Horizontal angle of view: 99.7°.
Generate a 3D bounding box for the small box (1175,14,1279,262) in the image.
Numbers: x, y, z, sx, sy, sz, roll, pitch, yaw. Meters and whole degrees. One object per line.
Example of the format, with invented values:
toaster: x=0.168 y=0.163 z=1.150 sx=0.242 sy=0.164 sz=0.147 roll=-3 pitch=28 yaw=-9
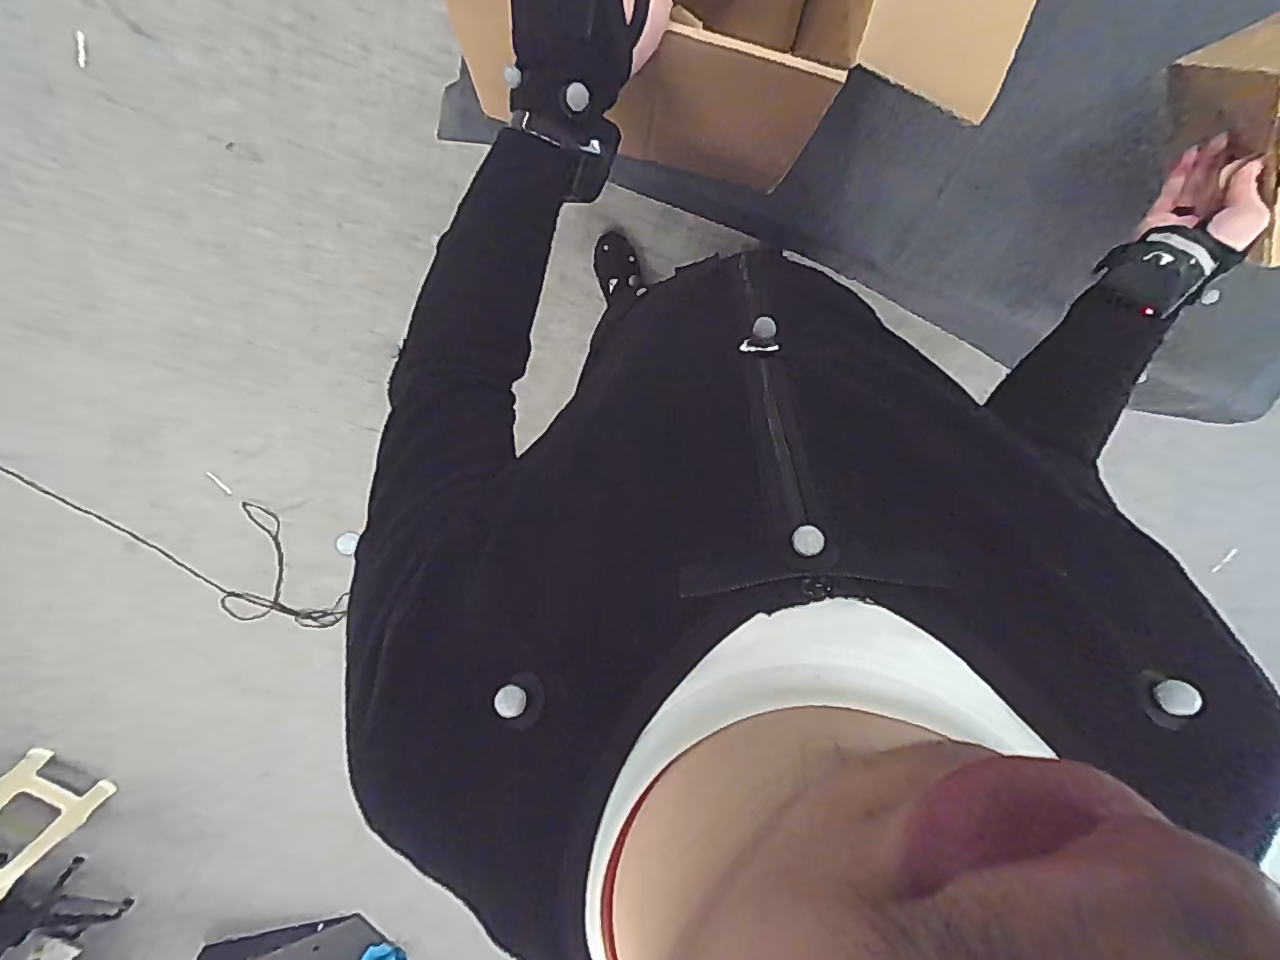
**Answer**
small box: x=0.630 y=-0.329 z=0.484 sx=0.179 sy=0.176 sz=0.168 roll=-17 pitch=123 yaw=26
